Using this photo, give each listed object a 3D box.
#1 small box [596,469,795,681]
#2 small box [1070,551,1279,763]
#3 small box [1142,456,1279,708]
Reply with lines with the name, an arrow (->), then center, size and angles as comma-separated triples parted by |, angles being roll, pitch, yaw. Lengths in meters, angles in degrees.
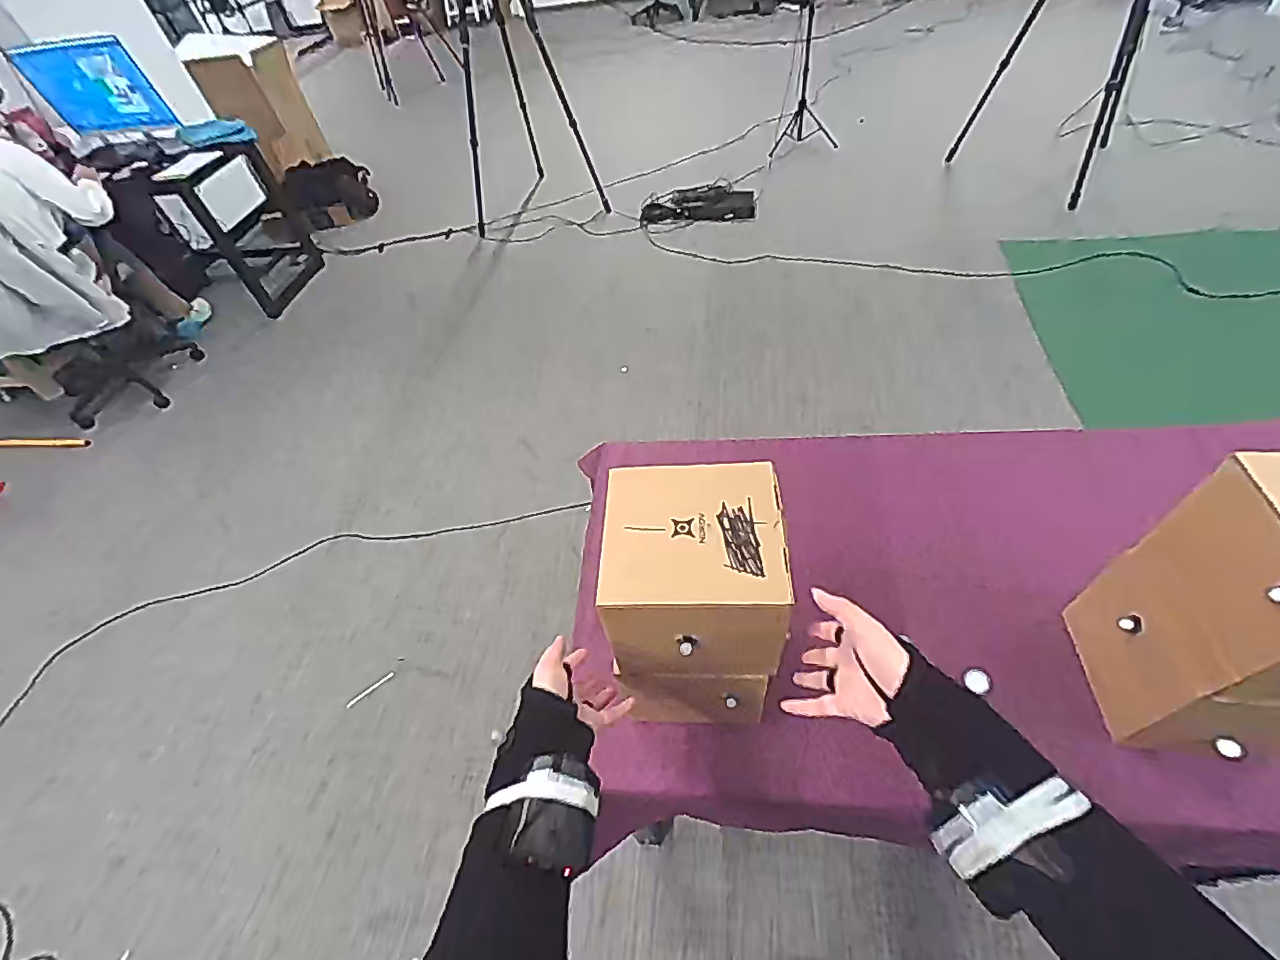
small box -> 0.059, 0.105, 0.580 | 0.179, 0.176, 0.168 | -2, 50, 7
small box -> 0.646, 0.203, 0.622 | 0.168, 0.176, 0.179 | 1, 51, 10
small box -> 0.629, 0.098, 0.498 | 0.168, 0.176, 0.179 | 1, 51, 10
